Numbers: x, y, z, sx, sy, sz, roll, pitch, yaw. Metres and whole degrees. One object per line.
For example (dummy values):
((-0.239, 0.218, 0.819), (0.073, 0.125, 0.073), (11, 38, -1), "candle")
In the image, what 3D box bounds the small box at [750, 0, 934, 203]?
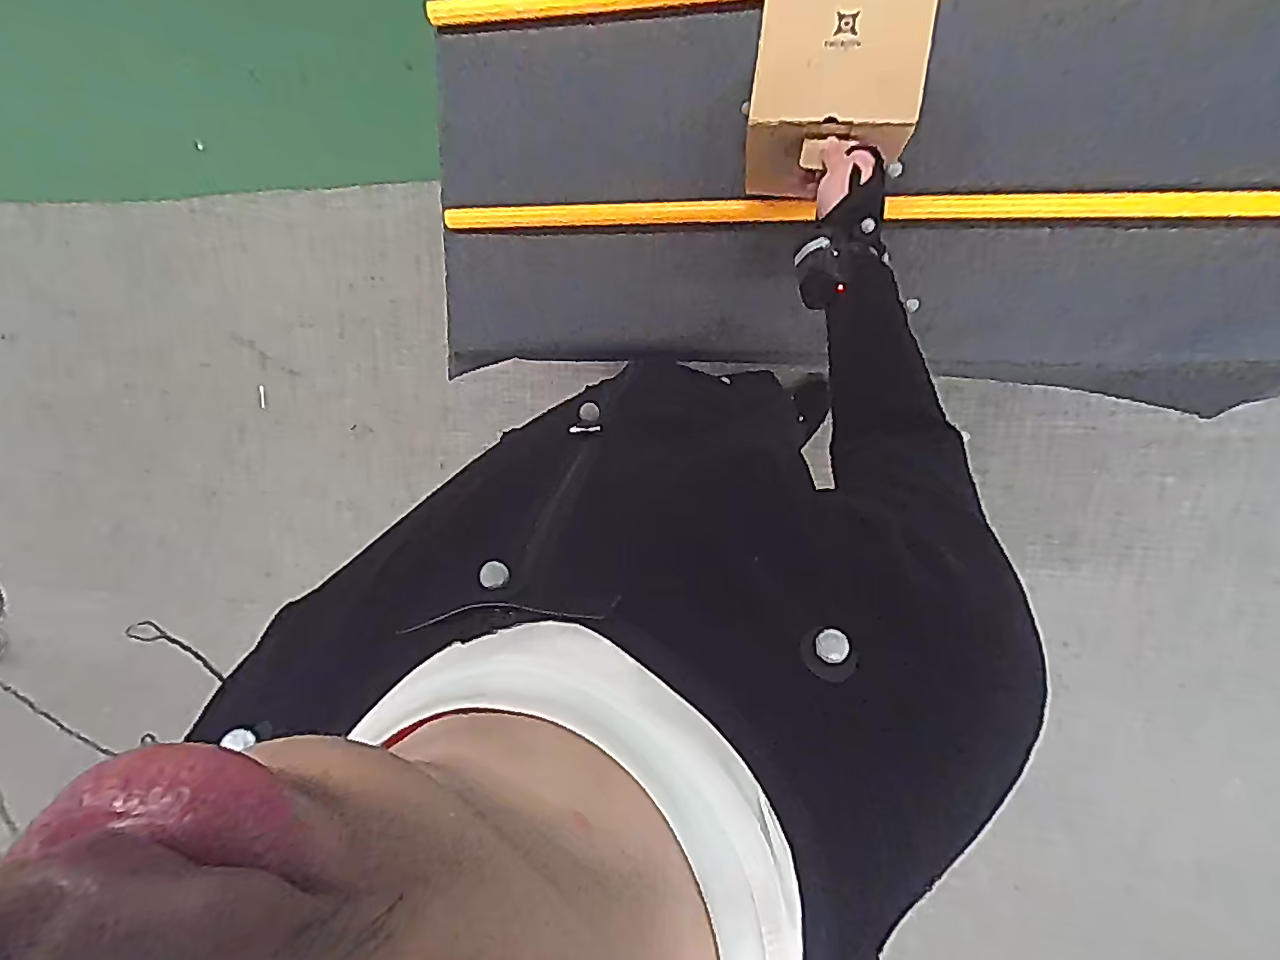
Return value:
((0.221, -0.440, 0.624), (0.168, 0.176, 0.179), (6, 94, 11), "small box")
